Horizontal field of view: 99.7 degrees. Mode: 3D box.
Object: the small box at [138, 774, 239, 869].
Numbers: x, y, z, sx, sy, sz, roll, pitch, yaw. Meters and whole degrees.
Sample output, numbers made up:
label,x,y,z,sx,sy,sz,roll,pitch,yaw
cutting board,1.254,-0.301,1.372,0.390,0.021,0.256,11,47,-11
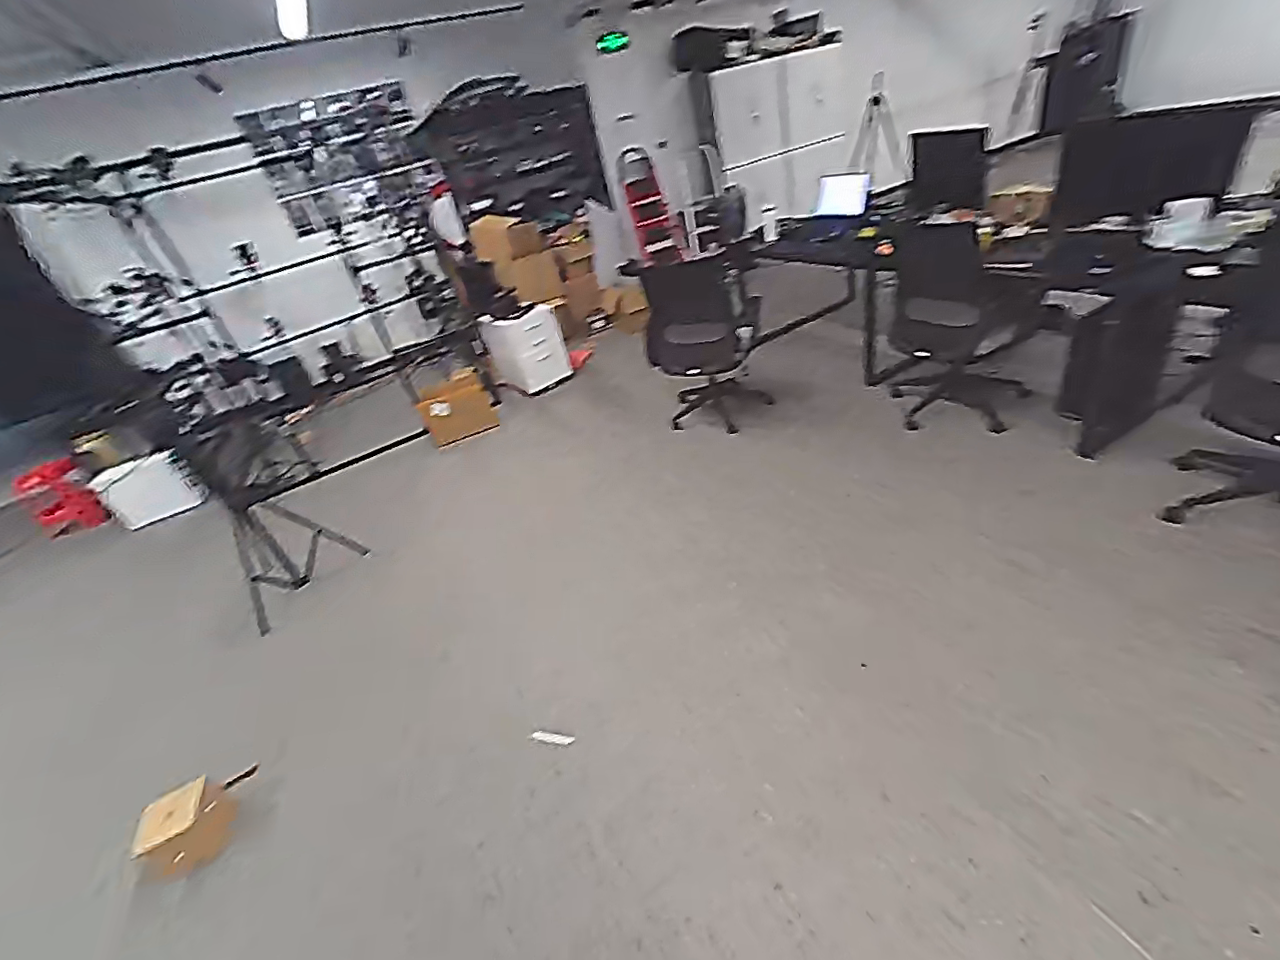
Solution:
label,x,y,z,sx,sy,sz,roll,pitch,yaw
small box,-1.411,1.083,1.704,0.168,0.176,0.179,-24,33,-15
